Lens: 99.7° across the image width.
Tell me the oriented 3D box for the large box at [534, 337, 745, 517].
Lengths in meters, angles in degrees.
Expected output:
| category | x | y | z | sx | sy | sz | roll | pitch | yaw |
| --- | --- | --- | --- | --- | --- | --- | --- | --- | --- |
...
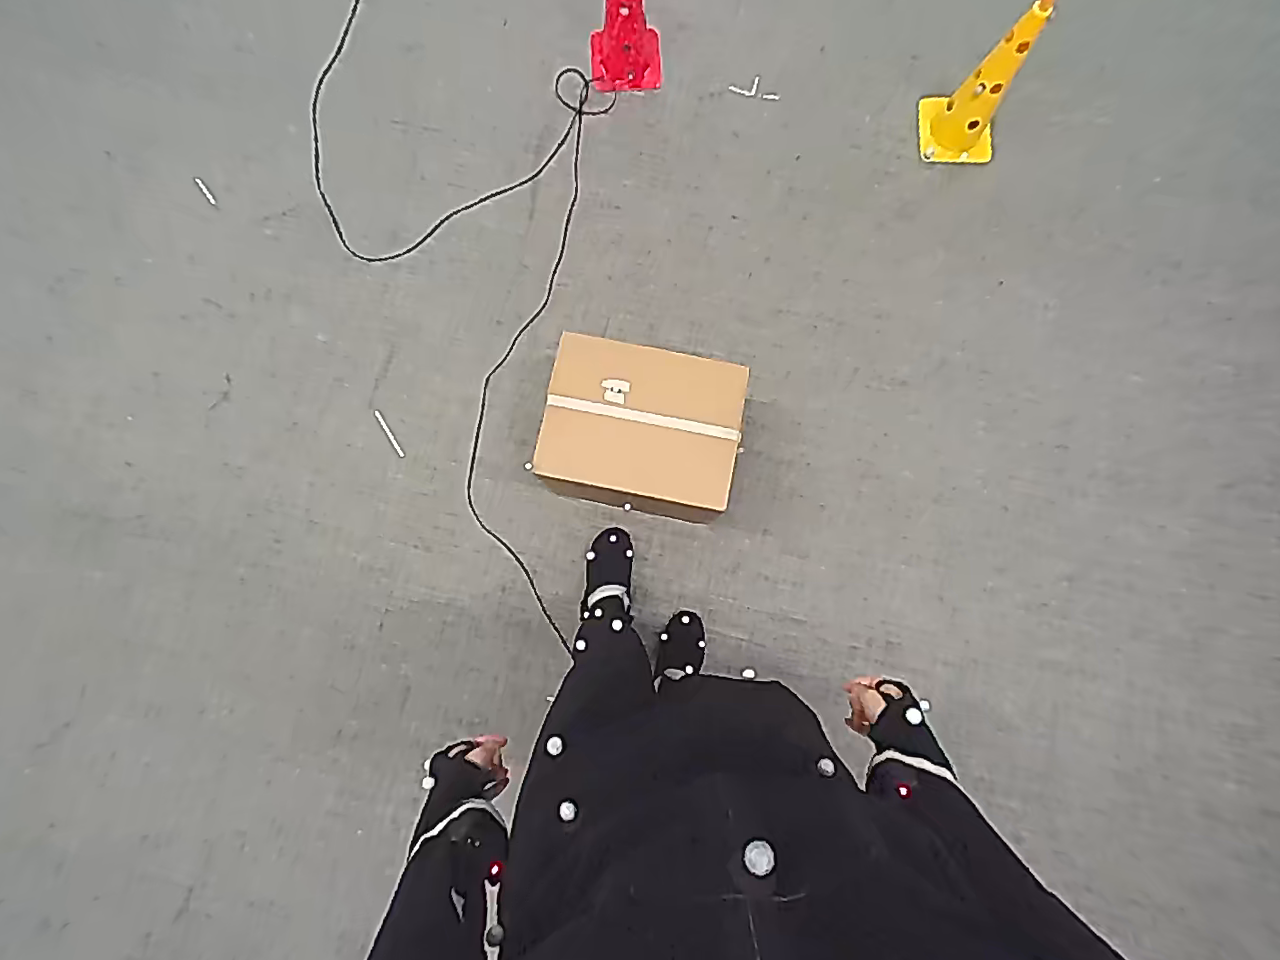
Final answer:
| category | x | y | z | sx | sy | sz | roll | pitch | yaw |
| --- | --- | --- | --- | --- | --- | --- | --- | --- | --- |
| large box | 0.005 | -0.102 | 1.265 | 0.408 | 0.320 | 0.320 | 11 | 81 | 2 |
